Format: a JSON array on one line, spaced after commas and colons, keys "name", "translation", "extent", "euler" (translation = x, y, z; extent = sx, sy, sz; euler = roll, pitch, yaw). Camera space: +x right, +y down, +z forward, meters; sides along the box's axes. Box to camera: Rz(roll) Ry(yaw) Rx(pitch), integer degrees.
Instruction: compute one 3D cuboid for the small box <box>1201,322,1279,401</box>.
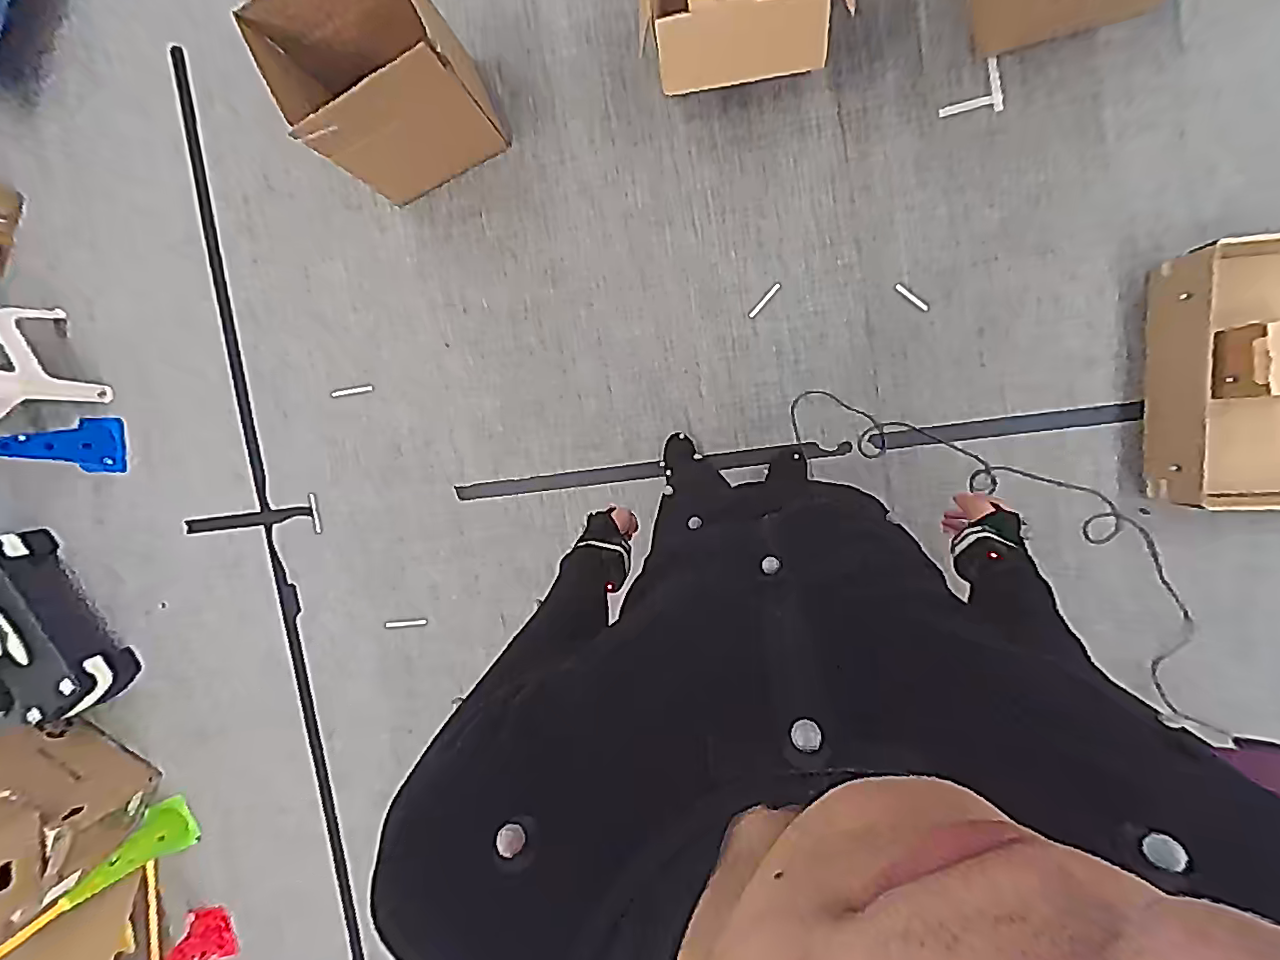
[{"name": "small box", "translation": [1.470, -0.278, 1.262], "extent": [0.179, 0.176, 0.168], "euler": [-7, 95, 10]}]
